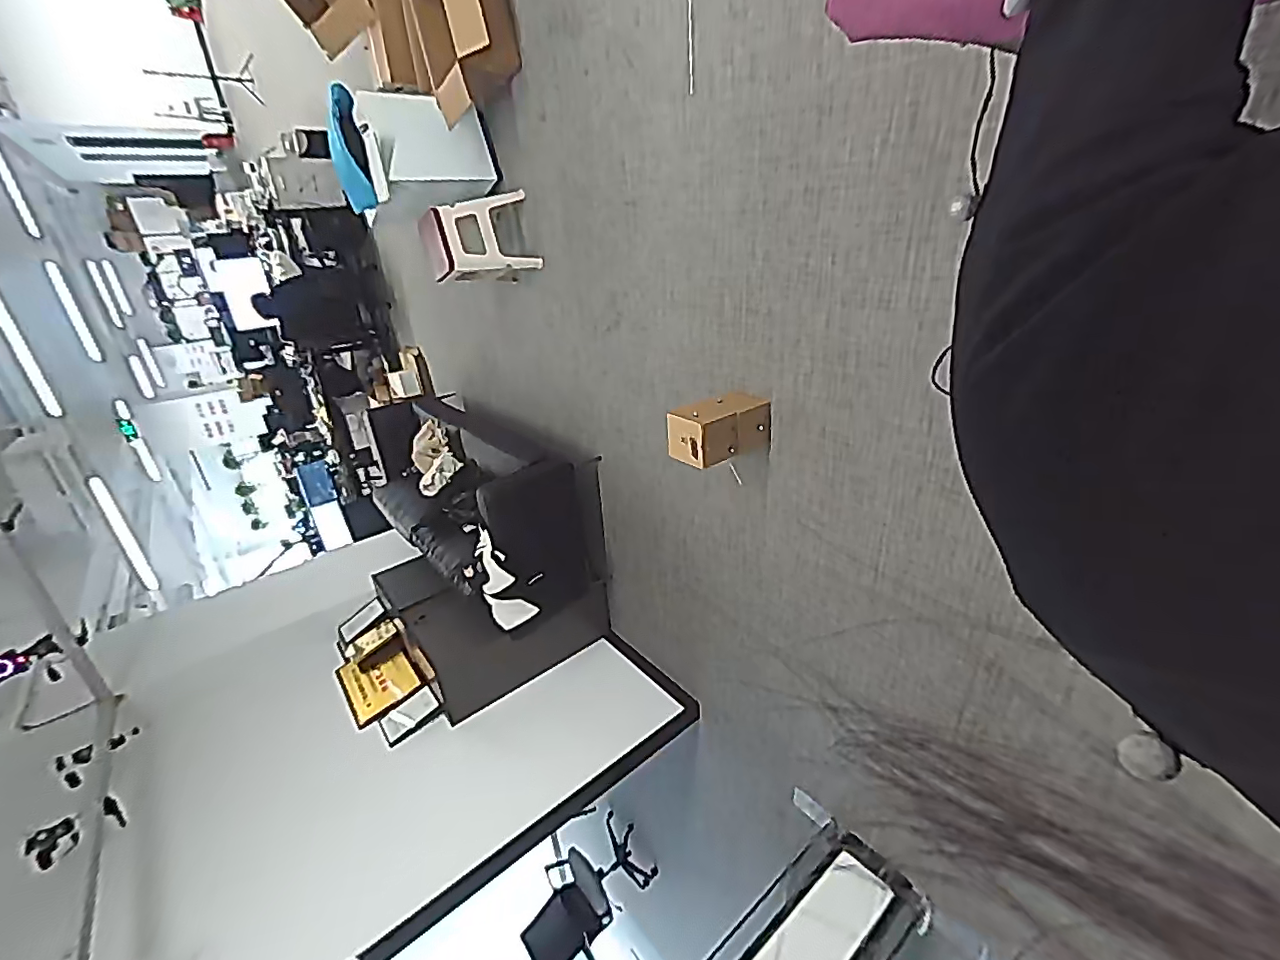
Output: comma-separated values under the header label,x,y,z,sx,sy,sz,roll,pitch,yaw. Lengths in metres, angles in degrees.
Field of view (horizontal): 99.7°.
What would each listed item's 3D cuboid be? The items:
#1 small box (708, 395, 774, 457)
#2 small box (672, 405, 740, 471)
label,x,y,z,sx,sy,sz,roll,pitch,yaw
small box,0.365,-0.204,1.971,0.179,0.176,0.168,26,129,45
small box,0.233,-0.154,1.886,0.179,0.176,0.168,26,129,47
